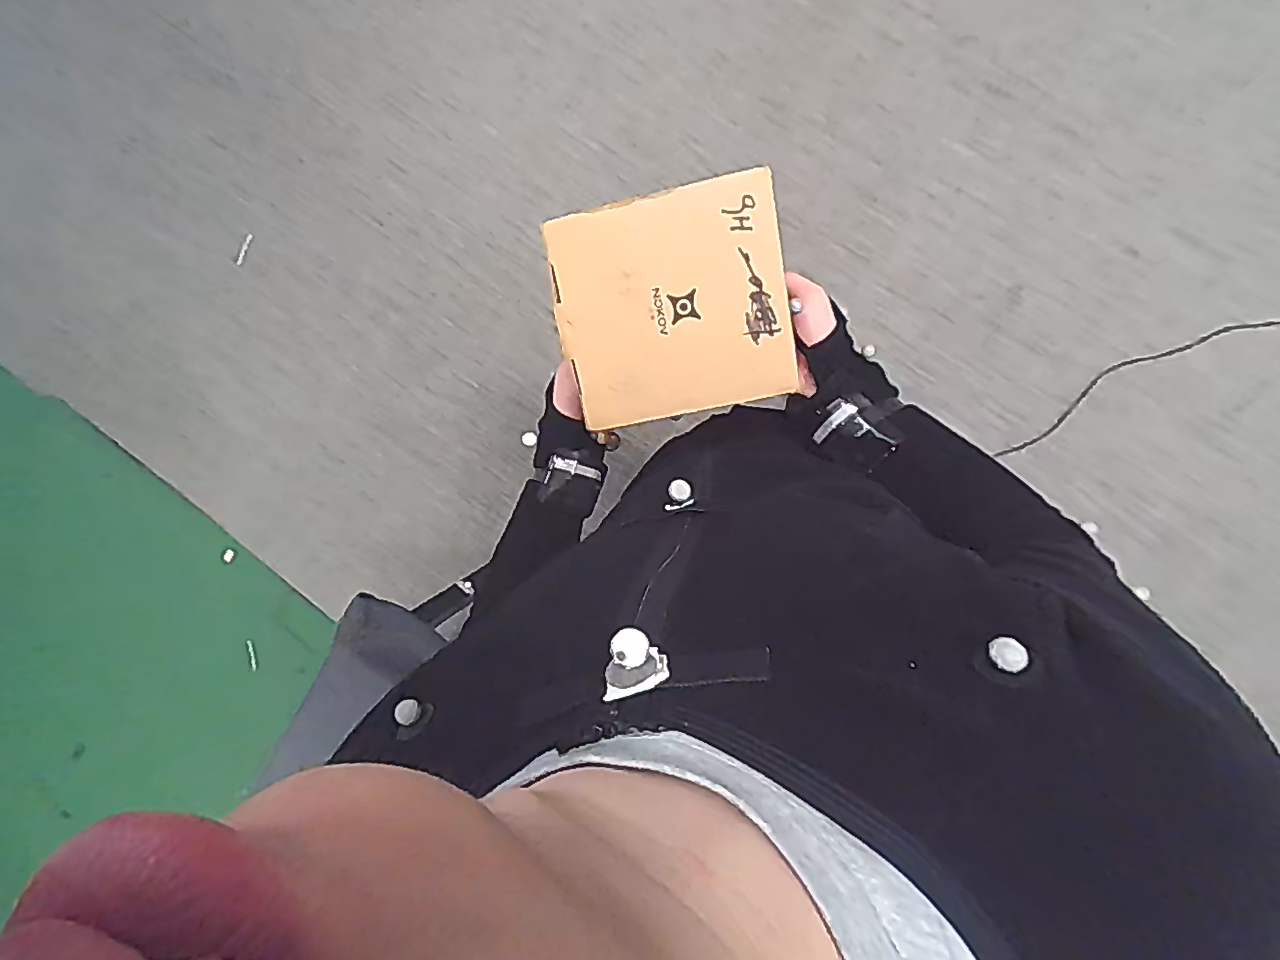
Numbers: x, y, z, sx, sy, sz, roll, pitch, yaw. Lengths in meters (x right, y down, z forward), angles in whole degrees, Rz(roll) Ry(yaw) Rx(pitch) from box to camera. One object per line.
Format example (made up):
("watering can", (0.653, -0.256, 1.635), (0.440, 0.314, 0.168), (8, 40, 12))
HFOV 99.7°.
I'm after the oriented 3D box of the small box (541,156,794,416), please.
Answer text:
("small box", (0.032, -0.162, 0.495), (0.179, 0.176, 0.168), (-10, 104, 9))
